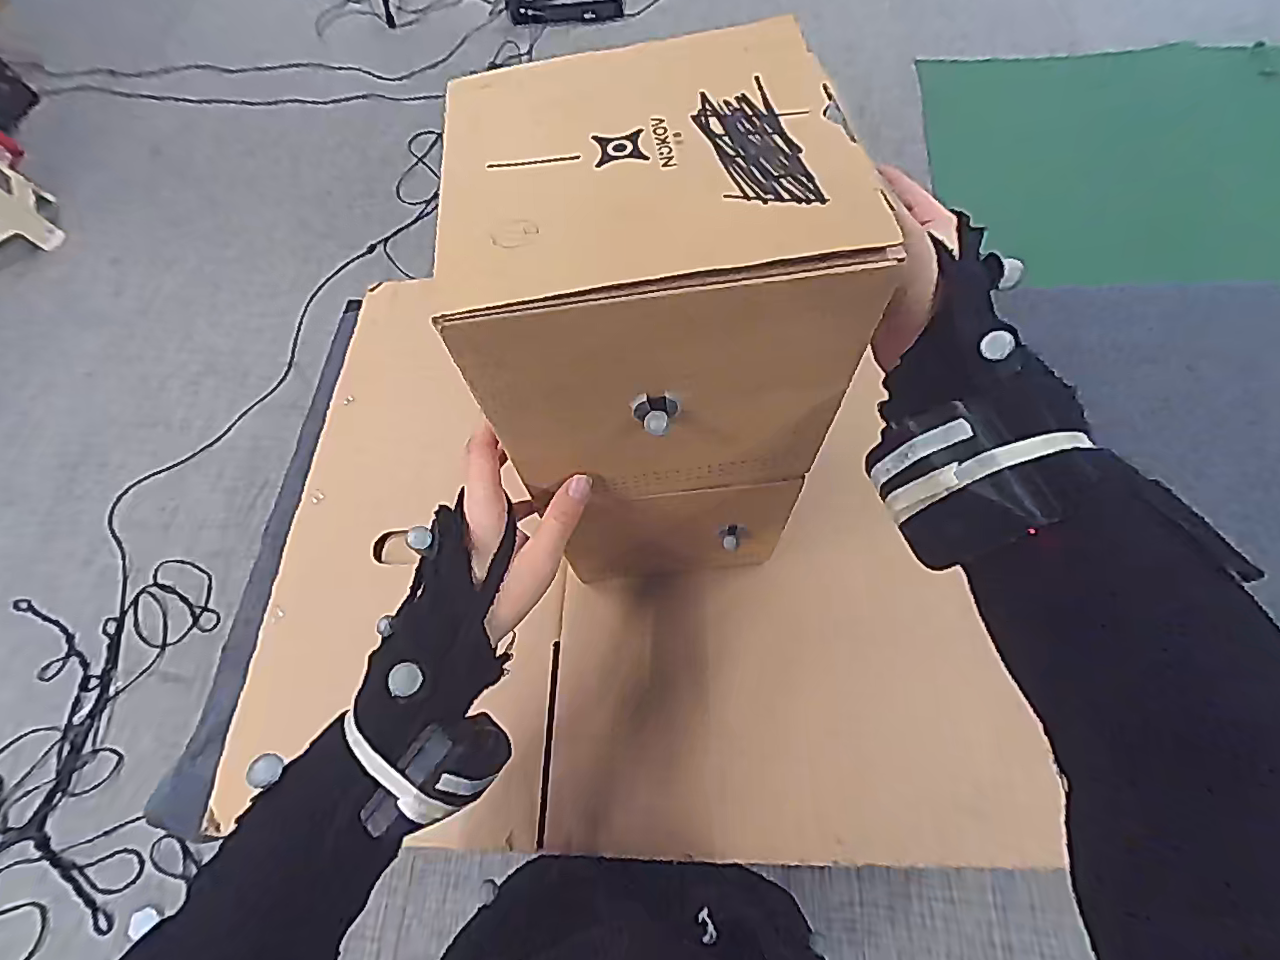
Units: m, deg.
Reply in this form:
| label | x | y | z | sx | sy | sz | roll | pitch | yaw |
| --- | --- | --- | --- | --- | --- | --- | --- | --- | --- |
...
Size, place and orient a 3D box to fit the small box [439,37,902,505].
| label | x | y | z | sx | sy | sz | roll | pitch | yaw |
| --- | --- | --- | --- | --- | --- | --- | --- | --- | --- |
| small box | 0.008 | -0.100 | 0.305 | 0.179 | 0.176 | 0.168 | -8 | 62 | 1 |

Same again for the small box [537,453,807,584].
| label | x | y | z | sx | sy | sz | roll | pitch | yaw |
| --- | --- | --- | --- | --- | --- | --- | --- | --- | --- |
| small box | 0.019 | -0.022 | 0.450 | 0.179 | 0.176 | 0.168 | -7 | 62 | 1 |
